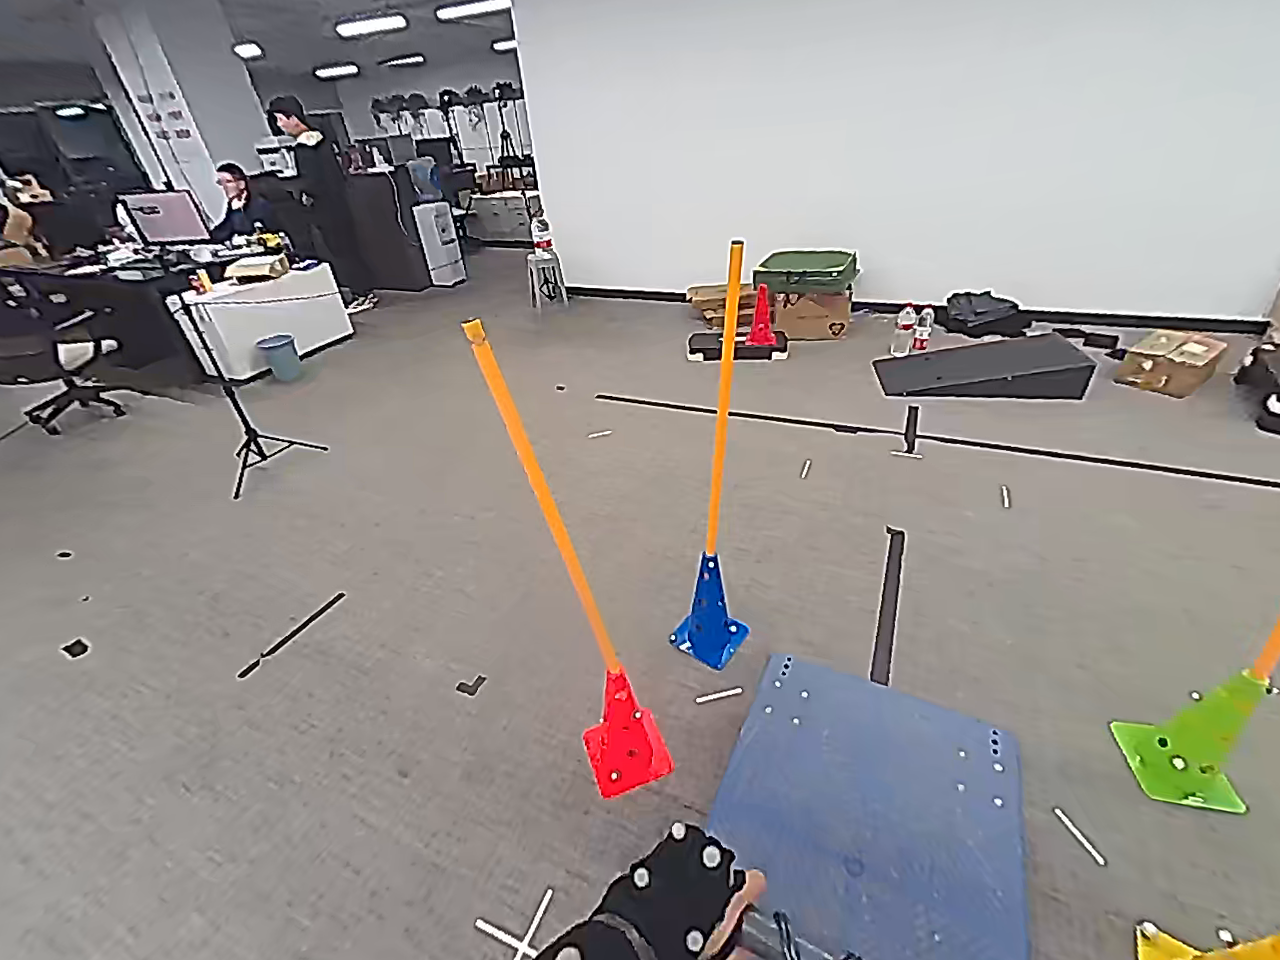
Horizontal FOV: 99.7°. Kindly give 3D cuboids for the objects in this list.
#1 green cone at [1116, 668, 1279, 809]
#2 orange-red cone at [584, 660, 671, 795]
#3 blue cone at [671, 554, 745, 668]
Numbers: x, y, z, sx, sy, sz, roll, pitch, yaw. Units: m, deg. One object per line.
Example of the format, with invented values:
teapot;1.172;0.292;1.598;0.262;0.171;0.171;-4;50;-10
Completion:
green cone;1.296;0.543;1.215;0.200;0.368;0.202;3;36;11
orange-red cone;-0.046;0.573;1.340;0.199;0.360;0.198;-14;36;-15
blue cone;0.208;0.366;1.640;0.193;0.380;0.192;22;43;34
